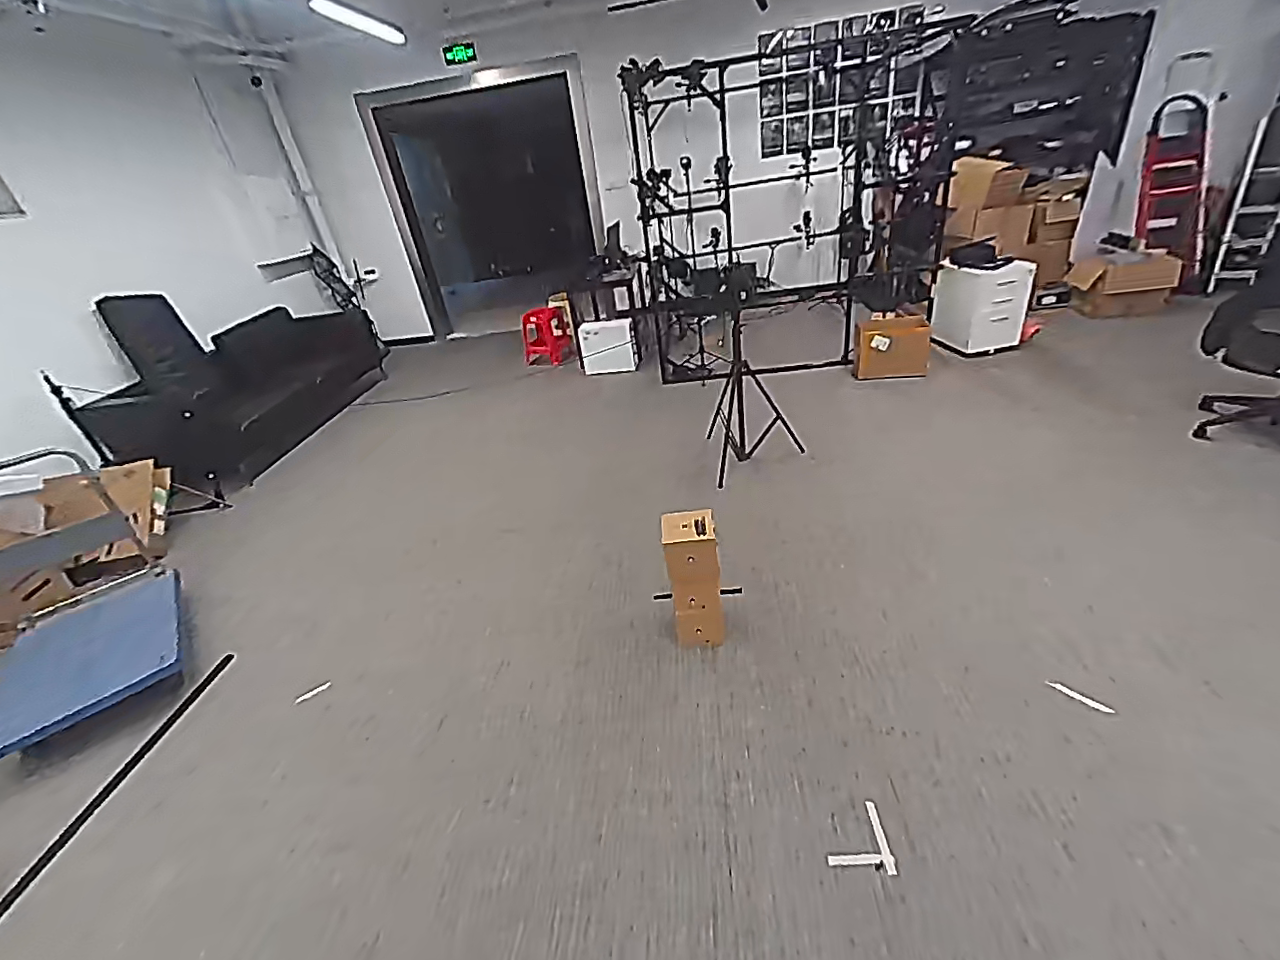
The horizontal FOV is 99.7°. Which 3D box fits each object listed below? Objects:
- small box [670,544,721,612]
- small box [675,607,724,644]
[{"bbox_3d":[0.201,0.353,1.946,0.168,0.176,0.179,-5,31,7],"label":"small box"},{"bbox_3d":[0.220,0.497,2.020,0.168,0.176,0.179,-6,30,5],"label":"small box"}]
